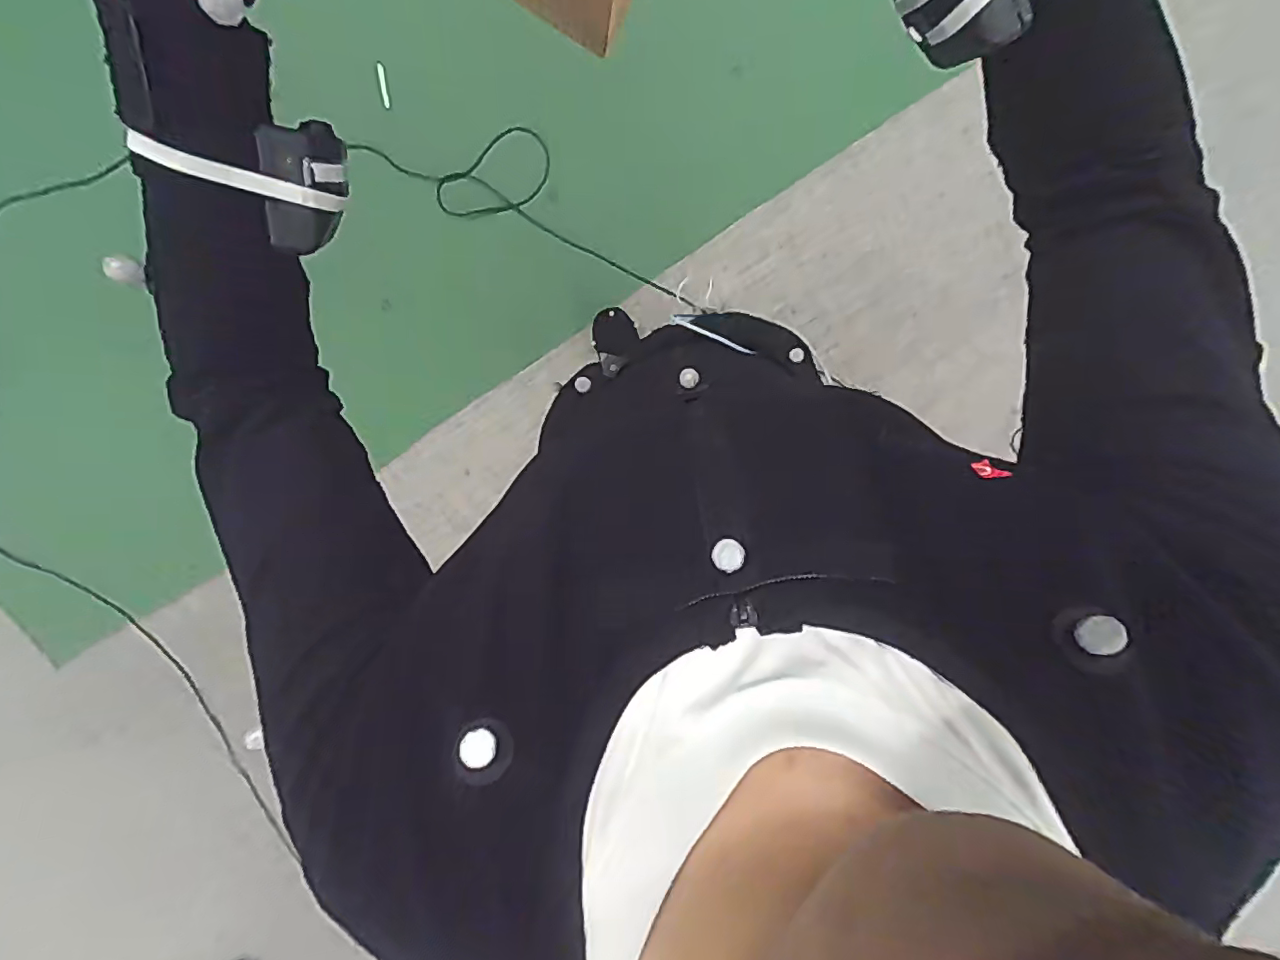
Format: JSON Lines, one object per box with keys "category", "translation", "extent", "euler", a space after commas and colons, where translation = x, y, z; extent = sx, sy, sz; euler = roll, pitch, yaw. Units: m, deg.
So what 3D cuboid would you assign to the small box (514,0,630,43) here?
{"category": "small box", "translation": [-0.054, -0.372, 0.266], "extent": [0.179, 0.176, 0.168], "euler": [25, 105, -16]}
